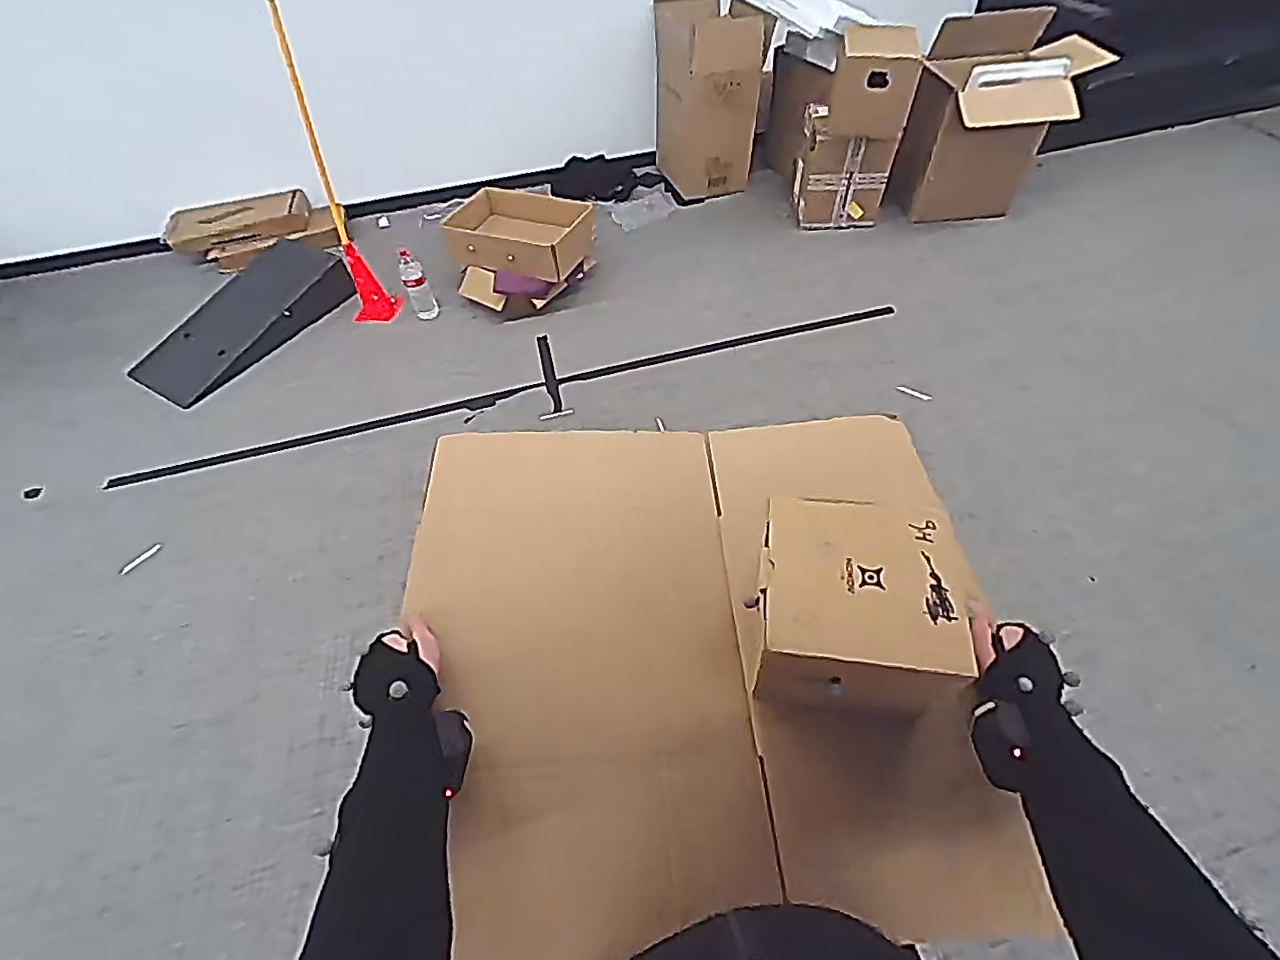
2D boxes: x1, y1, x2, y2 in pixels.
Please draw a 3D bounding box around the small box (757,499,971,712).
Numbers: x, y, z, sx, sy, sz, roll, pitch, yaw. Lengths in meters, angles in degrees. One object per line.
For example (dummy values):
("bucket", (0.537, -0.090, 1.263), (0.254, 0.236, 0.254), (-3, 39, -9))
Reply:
("small box", (0.219, 0.137, 0.579), (0.179, 0.176, 0.168), (3, 56, 11))
